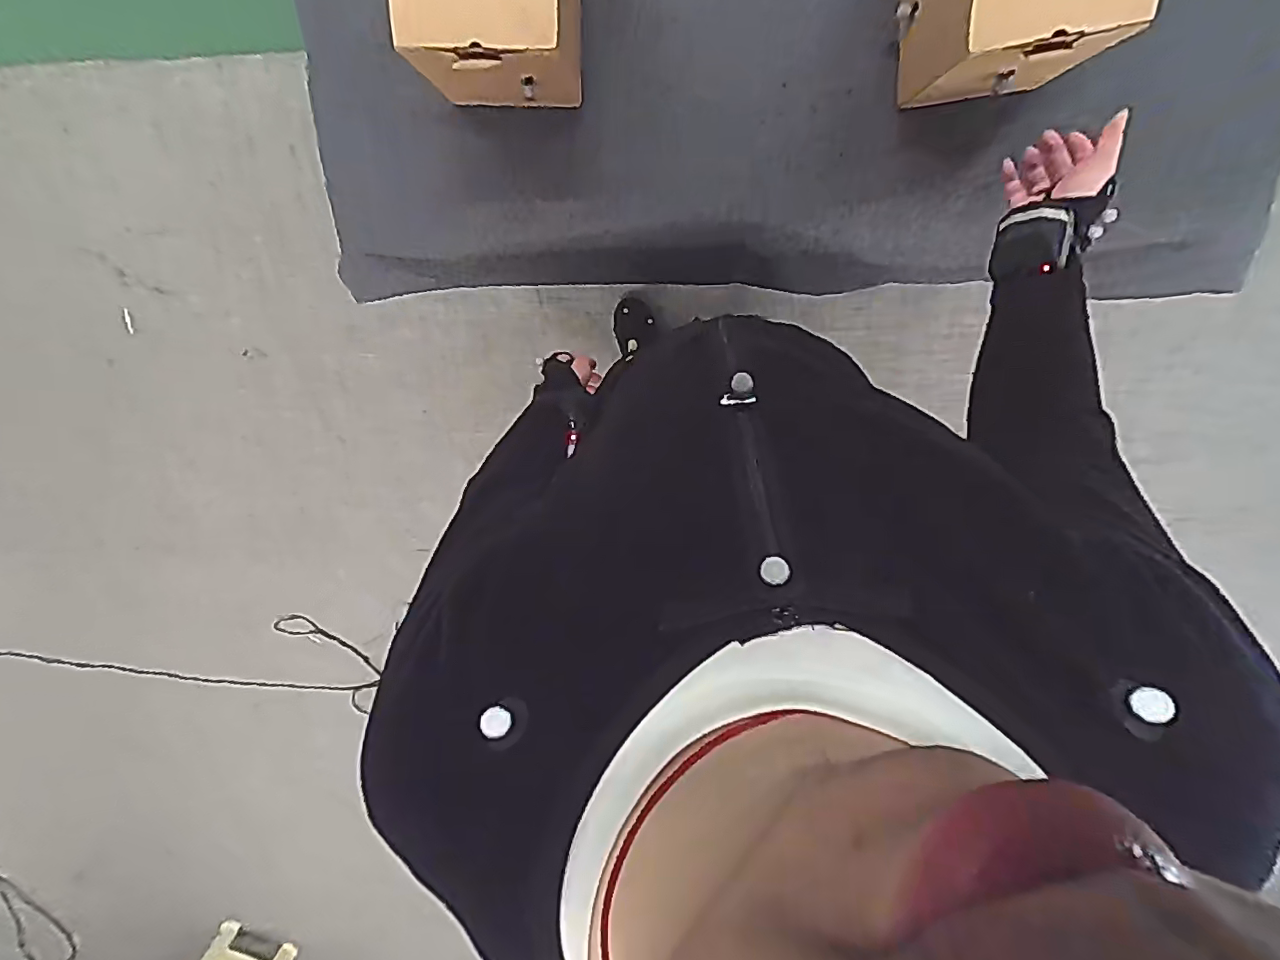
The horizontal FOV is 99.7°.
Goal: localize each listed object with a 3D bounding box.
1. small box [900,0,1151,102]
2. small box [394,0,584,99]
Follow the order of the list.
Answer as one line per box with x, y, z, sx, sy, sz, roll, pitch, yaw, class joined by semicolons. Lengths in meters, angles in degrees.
0.387;-0.518;0.559;0.168;0.176;0.179;-6;109;4;small box
-0.150;-0.536;0.578;0.168;0.176;0.179;2;108;0;small box
